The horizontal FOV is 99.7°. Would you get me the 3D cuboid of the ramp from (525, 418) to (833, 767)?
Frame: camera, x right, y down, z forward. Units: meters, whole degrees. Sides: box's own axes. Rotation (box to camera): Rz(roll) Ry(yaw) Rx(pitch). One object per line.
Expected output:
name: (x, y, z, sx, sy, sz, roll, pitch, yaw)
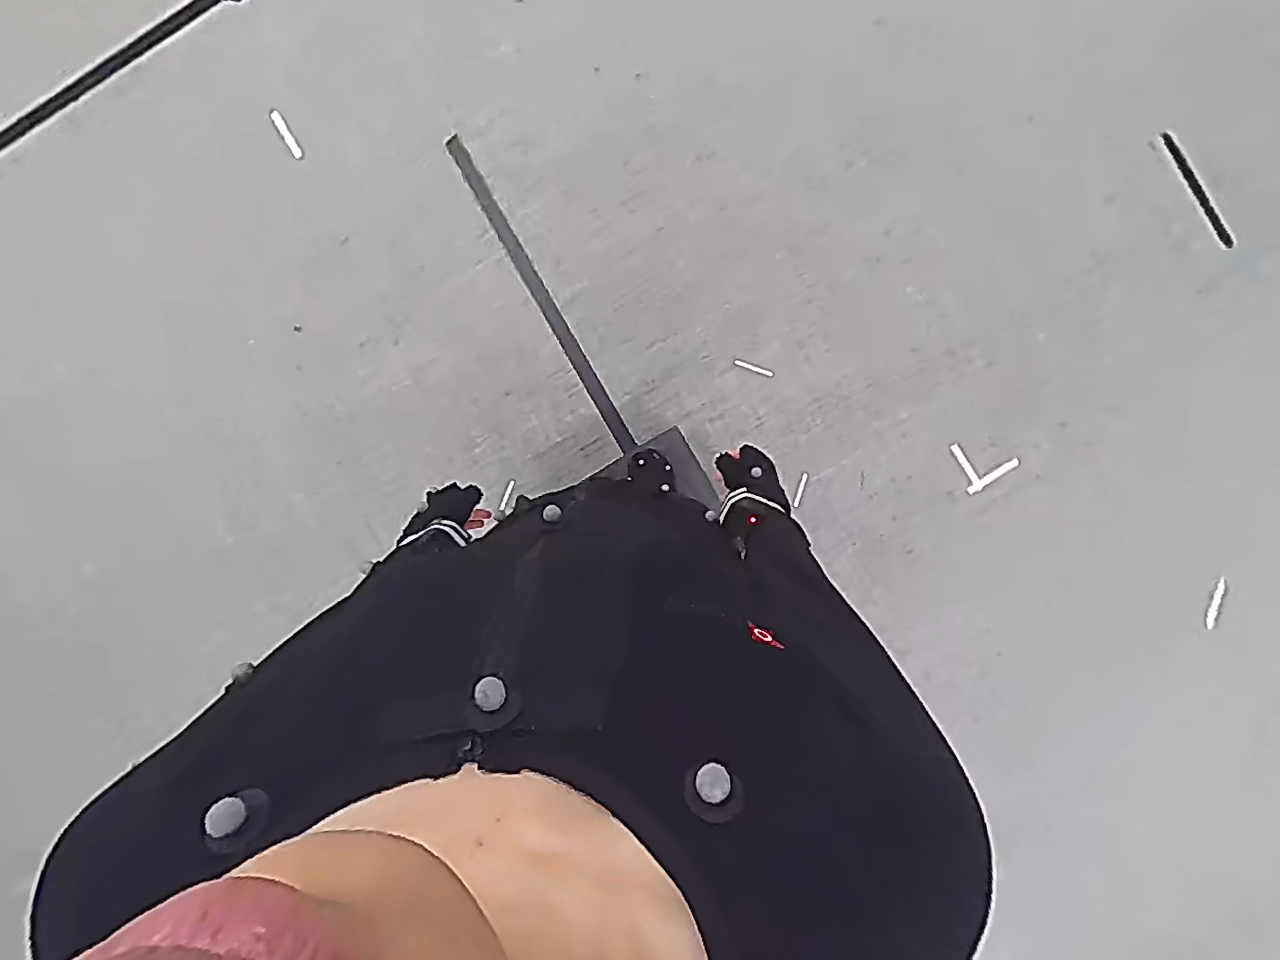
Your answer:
ramp: (0.143, 0.363, 1.577, 0.509, 0.206, 0.991, -33, 92, 1)
